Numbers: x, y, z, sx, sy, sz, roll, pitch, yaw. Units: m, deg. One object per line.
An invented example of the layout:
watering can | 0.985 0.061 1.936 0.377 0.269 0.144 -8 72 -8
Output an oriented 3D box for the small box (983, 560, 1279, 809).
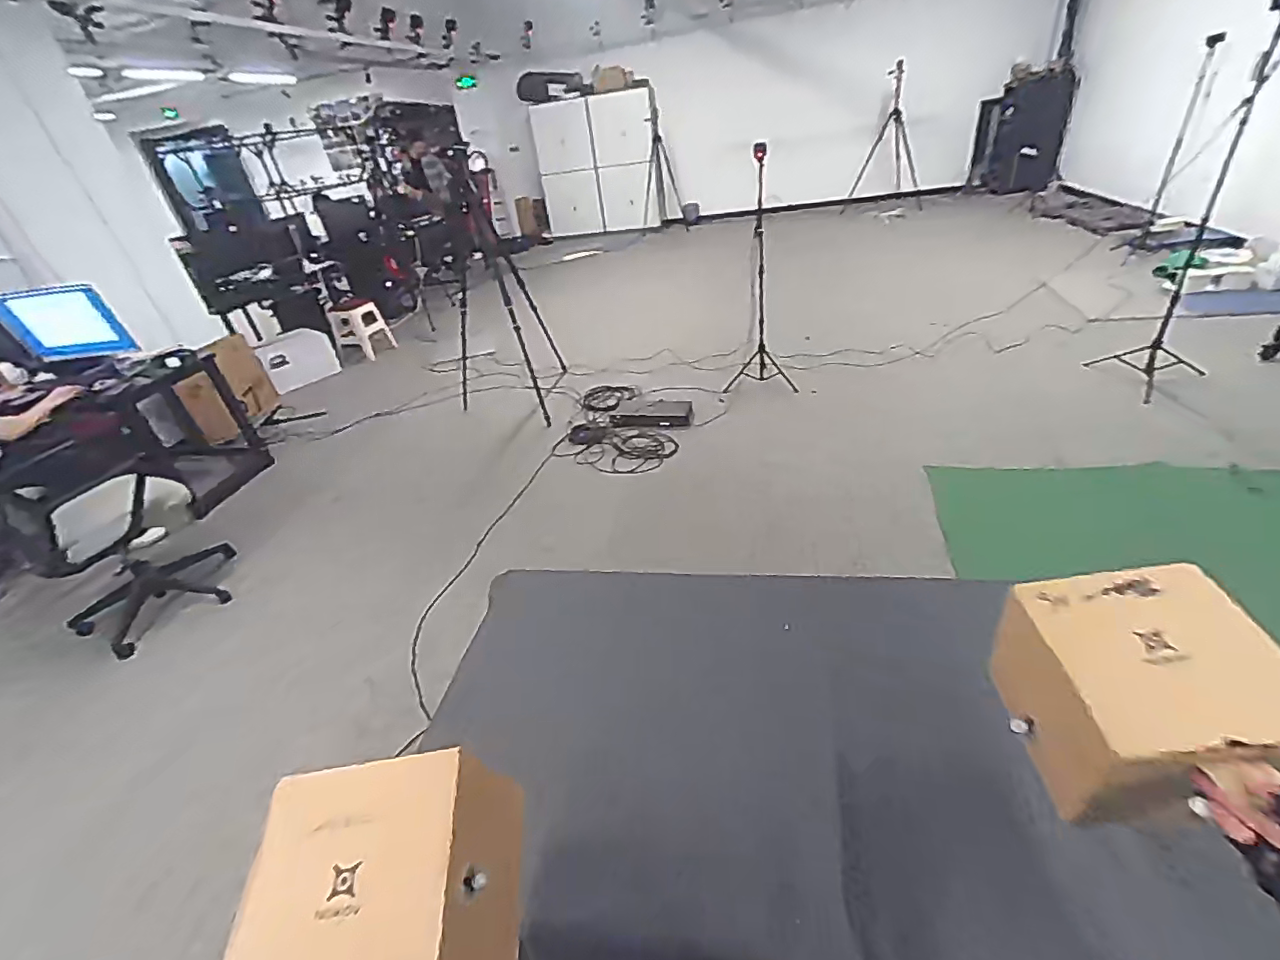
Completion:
small box | 0.474 0.208 0.538 0.168 0.176 0.179 -10 40 10

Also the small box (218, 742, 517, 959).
small box | -0.211 0.351 0.465 0.168 0.176 0.179 -11 49 2
